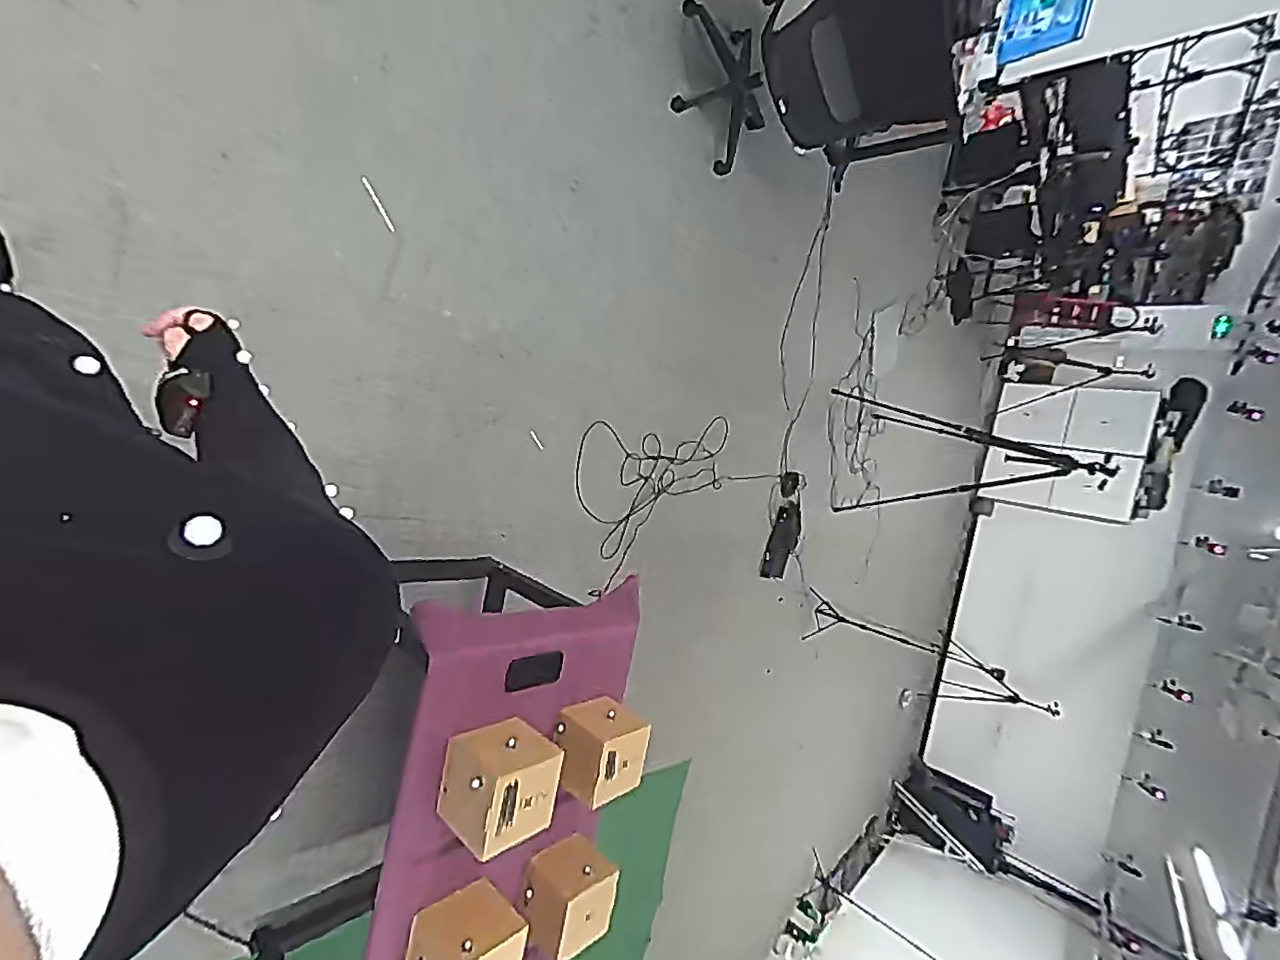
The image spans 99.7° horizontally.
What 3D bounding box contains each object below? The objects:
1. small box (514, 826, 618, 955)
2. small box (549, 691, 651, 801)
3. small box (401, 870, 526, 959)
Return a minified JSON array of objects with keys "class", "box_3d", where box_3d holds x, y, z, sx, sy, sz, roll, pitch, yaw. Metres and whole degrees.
[{"class":"small box","box_3d":[-0.189,1.028,1.376,0.179,0.176,0.168,10,92,-48]},{"class":"small box","box_3d":[-0.104,0.655,1.355,0.179,0.176,0.168,8,95,-49]},{"class":"small box","box_3d":[-0.377,0.990,1.154,0.179,0.176,0.168,9,95,-49]}]
